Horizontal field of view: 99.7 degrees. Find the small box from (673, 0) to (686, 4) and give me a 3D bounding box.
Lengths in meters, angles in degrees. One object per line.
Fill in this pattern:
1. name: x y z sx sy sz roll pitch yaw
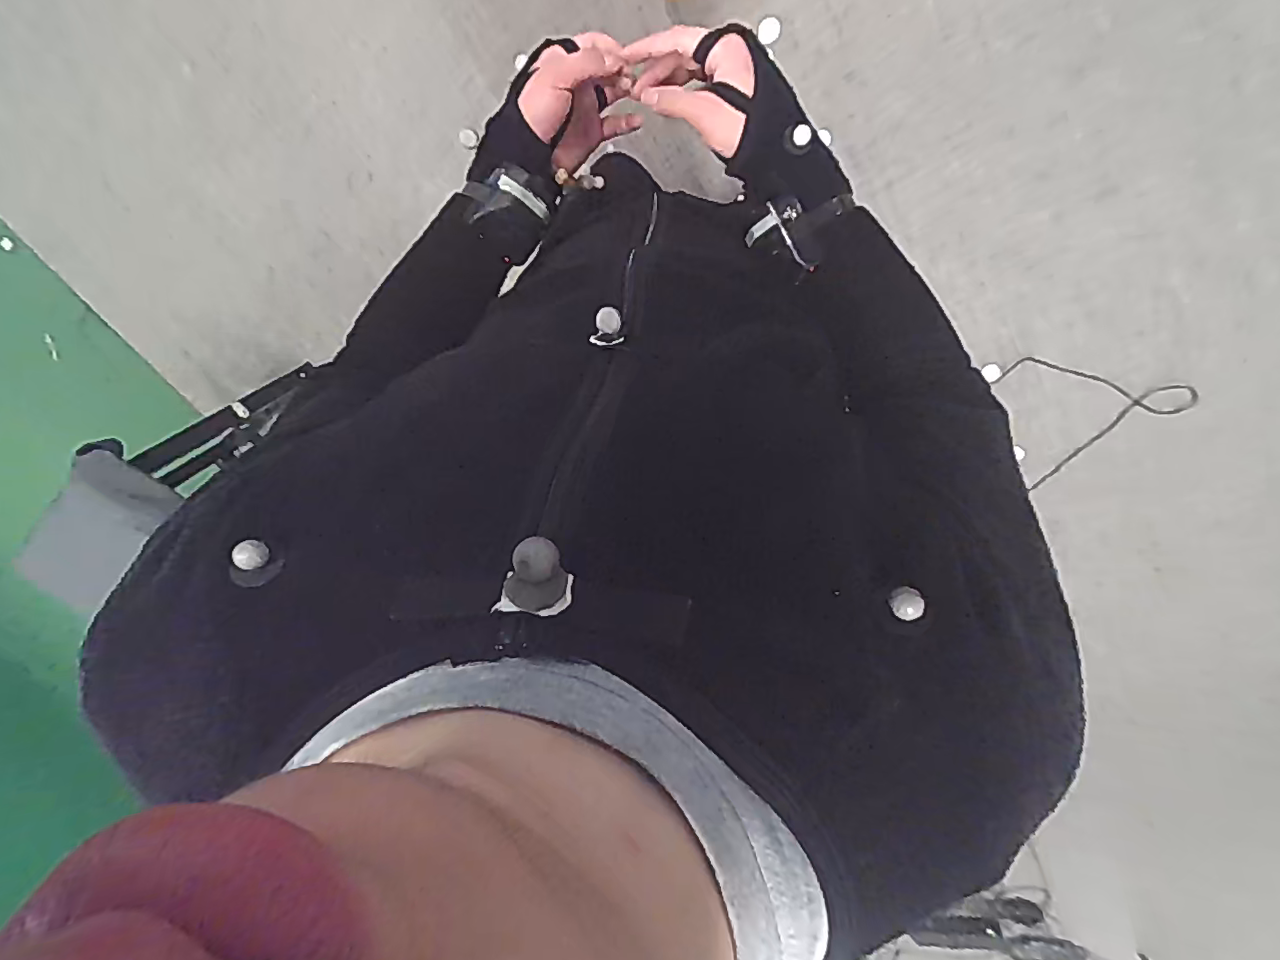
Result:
1. small box: 0.092 -1.027 0.994 0.168 0.176 0.179 -12 121 22
